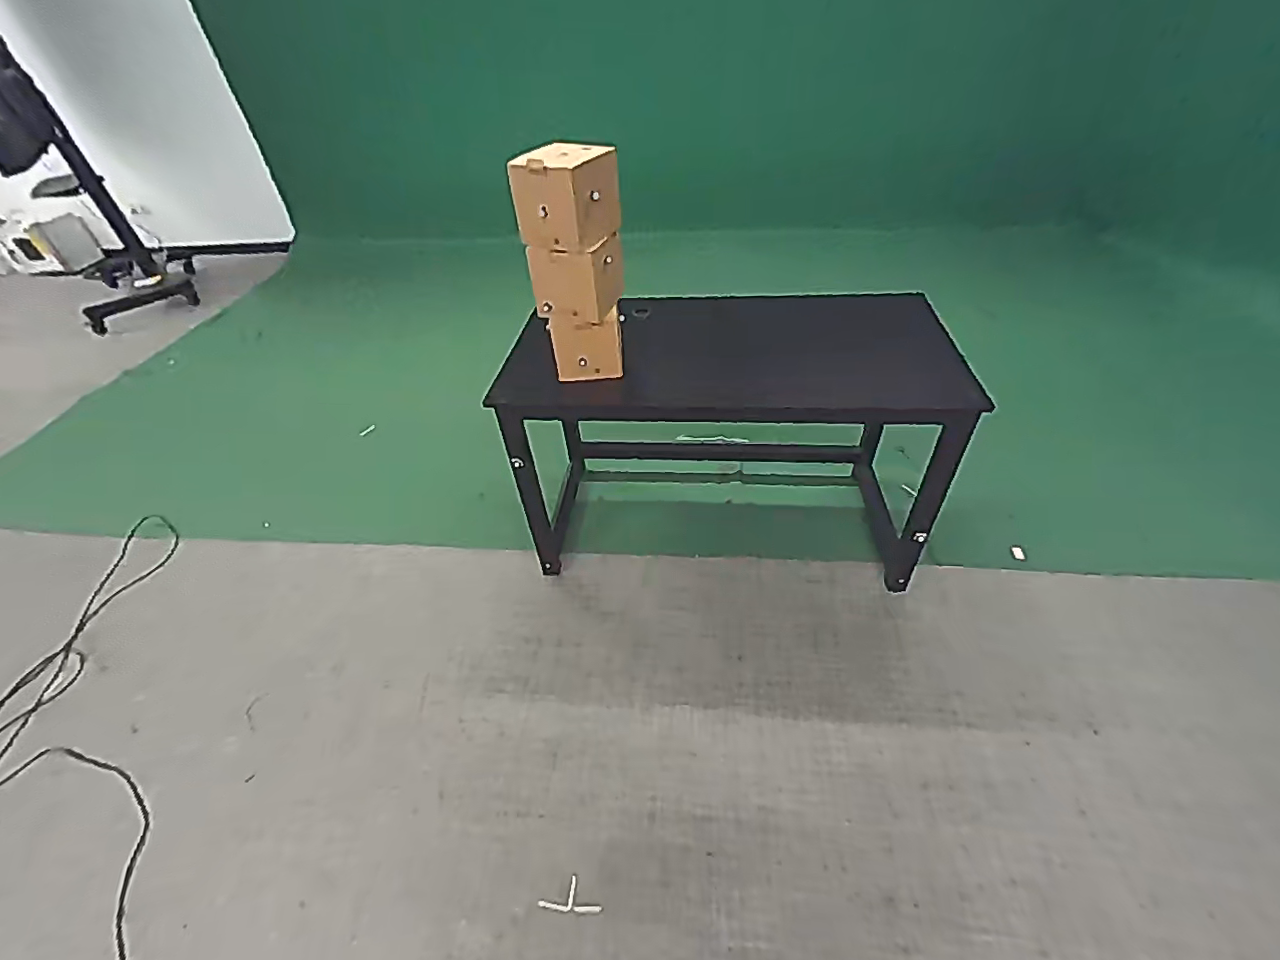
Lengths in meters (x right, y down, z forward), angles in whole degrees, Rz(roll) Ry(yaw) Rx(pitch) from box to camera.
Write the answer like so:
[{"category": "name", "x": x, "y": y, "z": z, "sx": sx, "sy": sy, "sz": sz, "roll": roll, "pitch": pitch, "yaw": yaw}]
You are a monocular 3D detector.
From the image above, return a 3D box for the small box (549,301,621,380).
[{"category": "small box", "x": -0.138, "y": -0.380, "z": 1.419, "sx": 0.168, "sy": 0.176, "sz": 0.179, "roll": -4, "pitch": 44, "yaw": 0}]

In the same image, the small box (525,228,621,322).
[{"category": "small box", "x": -0.152, "y": -0.500, "z": 1.308, "sx": 0.168, "sy": 0.176, "sz": 0.179, "roll": 11, "pitch": 45, "yaw": 16}]

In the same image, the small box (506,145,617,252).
[{"category": "small box", "x": -0.163, "y": -0.625, "z": 1.201, "sx": 0.168, "sy": 0.176, "sz": 0.179, "roll": 20, "pitch": 49, "yaw": 23}]
